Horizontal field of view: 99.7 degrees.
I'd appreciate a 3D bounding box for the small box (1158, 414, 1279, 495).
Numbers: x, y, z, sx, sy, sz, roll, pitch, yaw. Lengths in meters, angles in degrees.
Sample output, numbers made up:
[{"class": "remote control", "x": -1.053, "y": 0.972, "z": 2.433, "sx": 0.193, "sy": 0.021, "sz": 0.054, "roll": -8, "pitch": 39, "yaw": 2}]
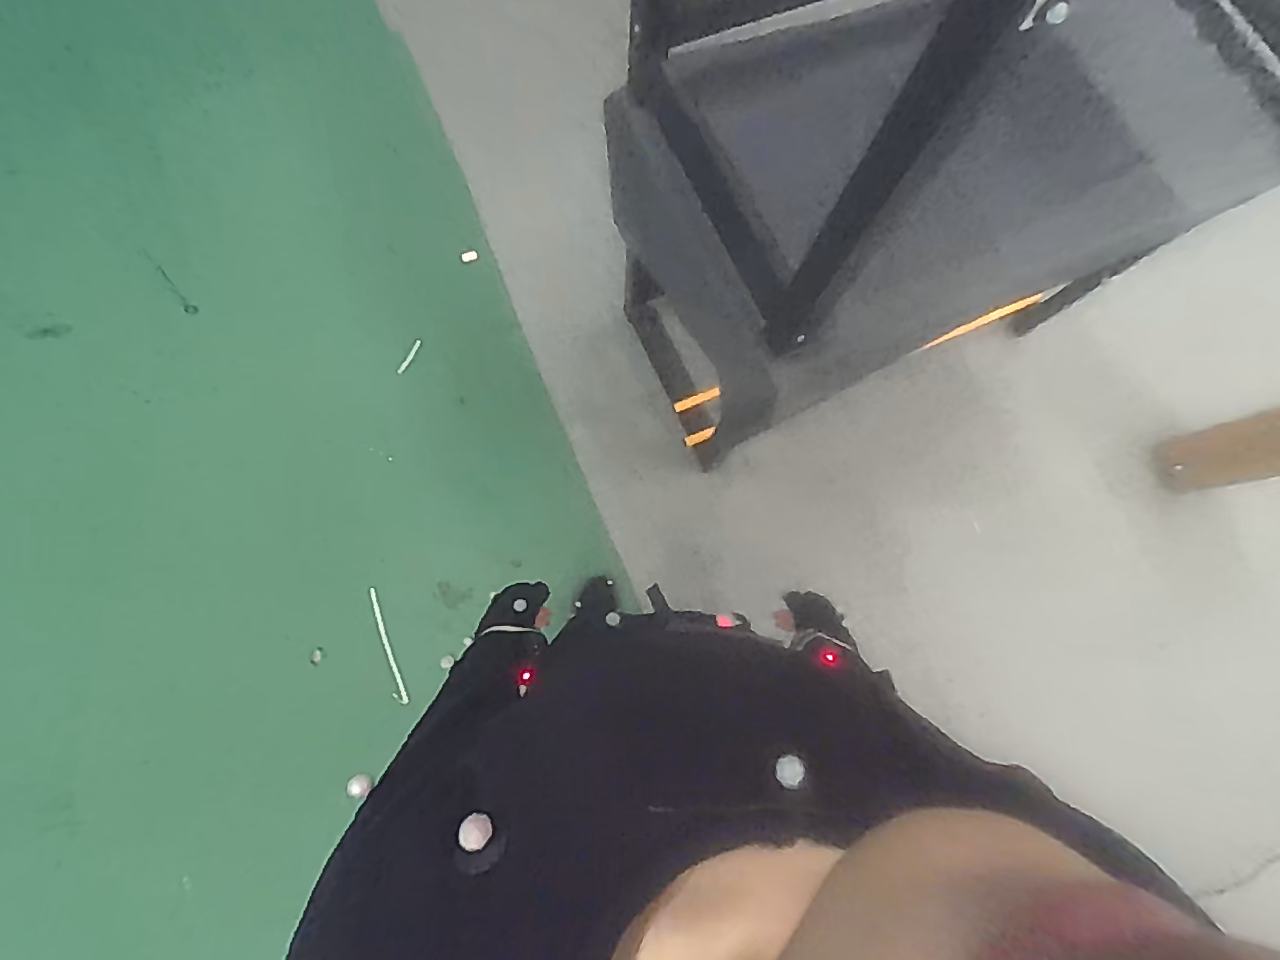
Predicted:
[{"class": "small box", "x": 1.677, "y": -0.069, "z": 1.561, "sx": 0.179, "sy": 0.176, "sz": 0.168, "roll": -17, "pitch": 78, "yaw": -6}]
